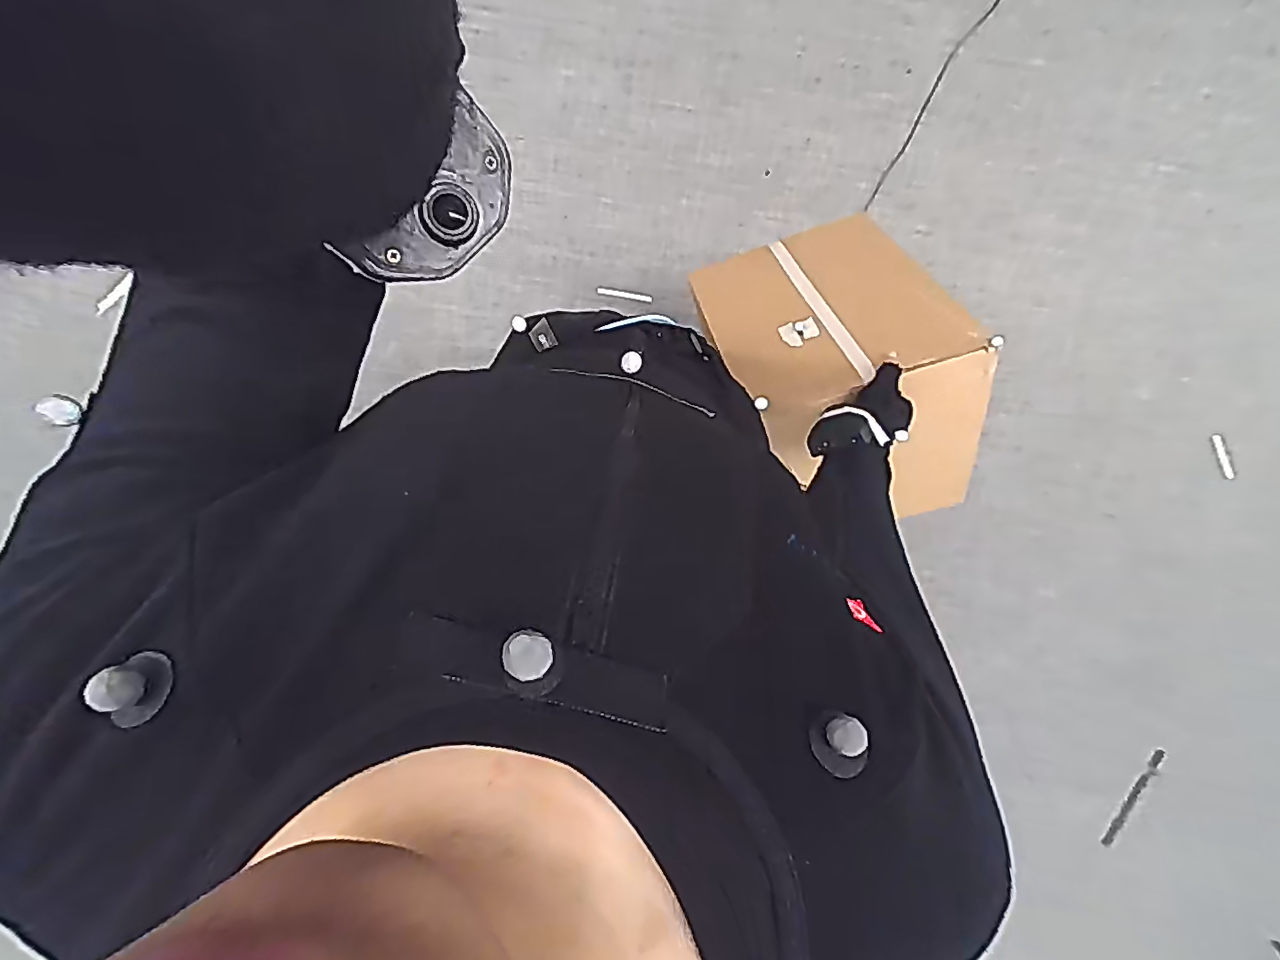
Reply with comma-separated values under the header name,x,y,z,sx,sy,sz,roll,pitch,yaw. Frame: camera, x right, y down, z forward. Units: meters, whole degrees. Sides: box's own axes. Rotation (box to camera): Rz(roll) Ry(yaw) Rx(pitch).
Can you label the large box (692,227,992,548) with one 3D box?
name,x,y,z,sx,sy,sz,roll,pitch,yaw
large box,0.303,-0.158,0.922,0.320,0.408,0.320,-17,138,8
